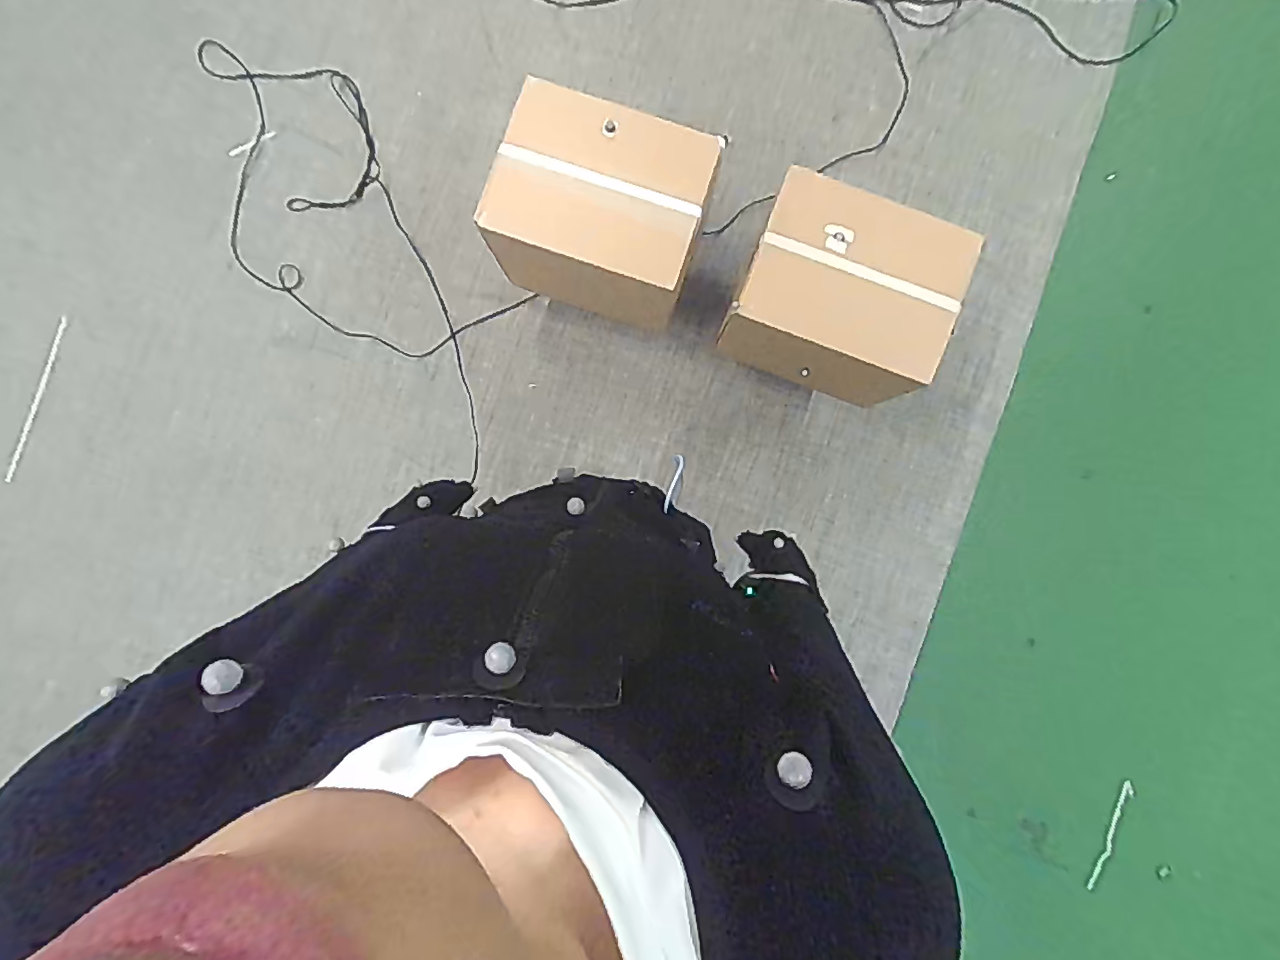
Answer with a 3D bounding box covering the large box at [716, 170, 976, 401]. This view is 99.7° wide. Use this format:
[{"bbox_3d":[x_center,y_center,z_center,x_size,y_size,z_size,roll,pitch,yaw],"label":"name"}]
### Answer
[{"bbox_3d":[0.425,-0.400,1.204,0.408,0.320,0.320,21,89,0],"label":"large box"}]
